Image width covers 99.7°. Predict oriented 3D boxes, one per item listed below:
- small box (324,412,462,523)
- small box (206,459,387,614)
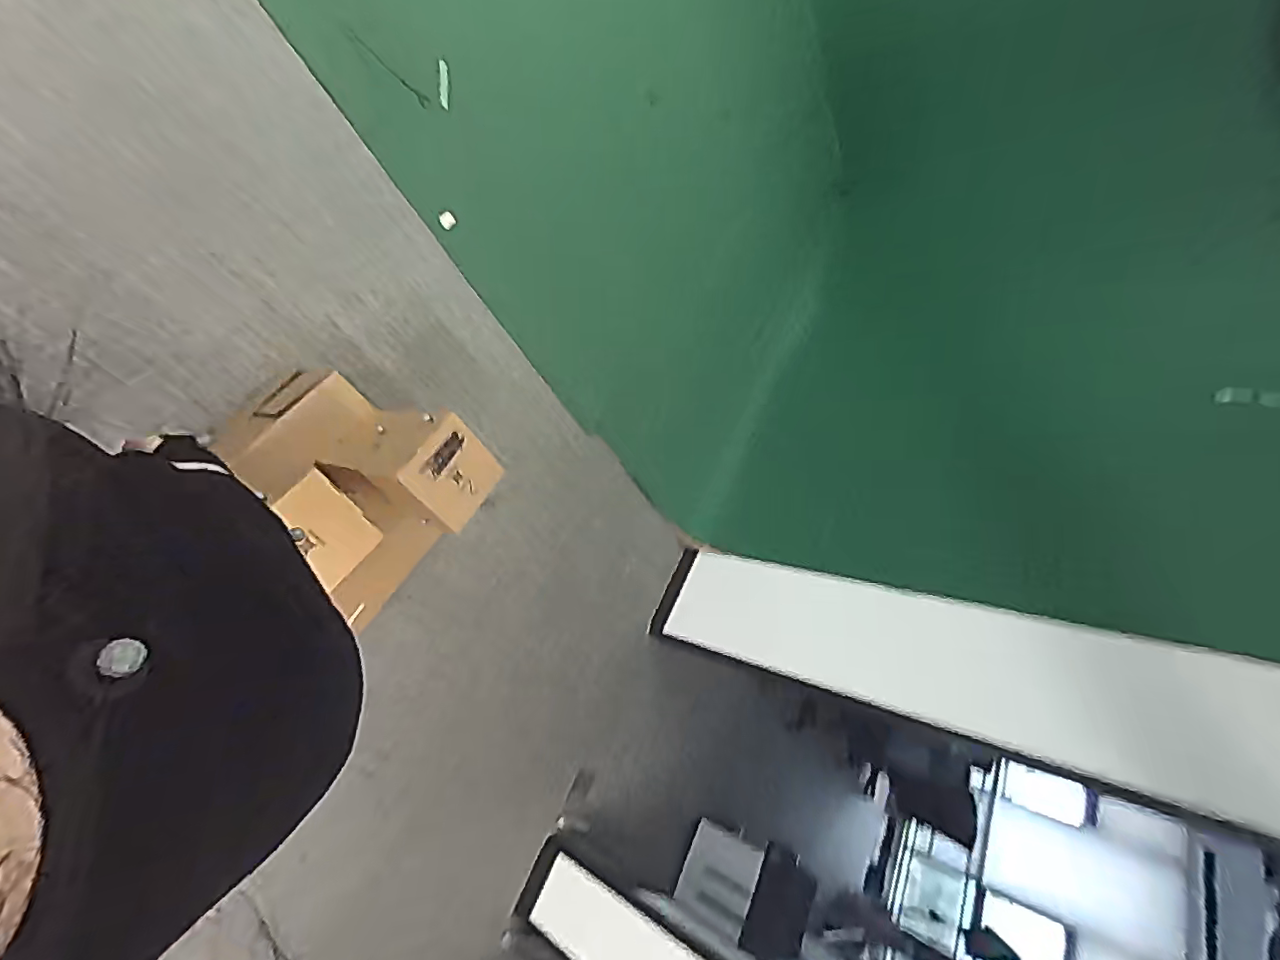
[{"bbox_3d":[-0.535,-0.034,1.176,0.168,0.176,0.179,-56,136,-30],"label":"small box"},{"bbox_3d":[-0.569,0.085,0.893,0.179,0.176,0.168,-53,134,-30],"label":"small box"}]
